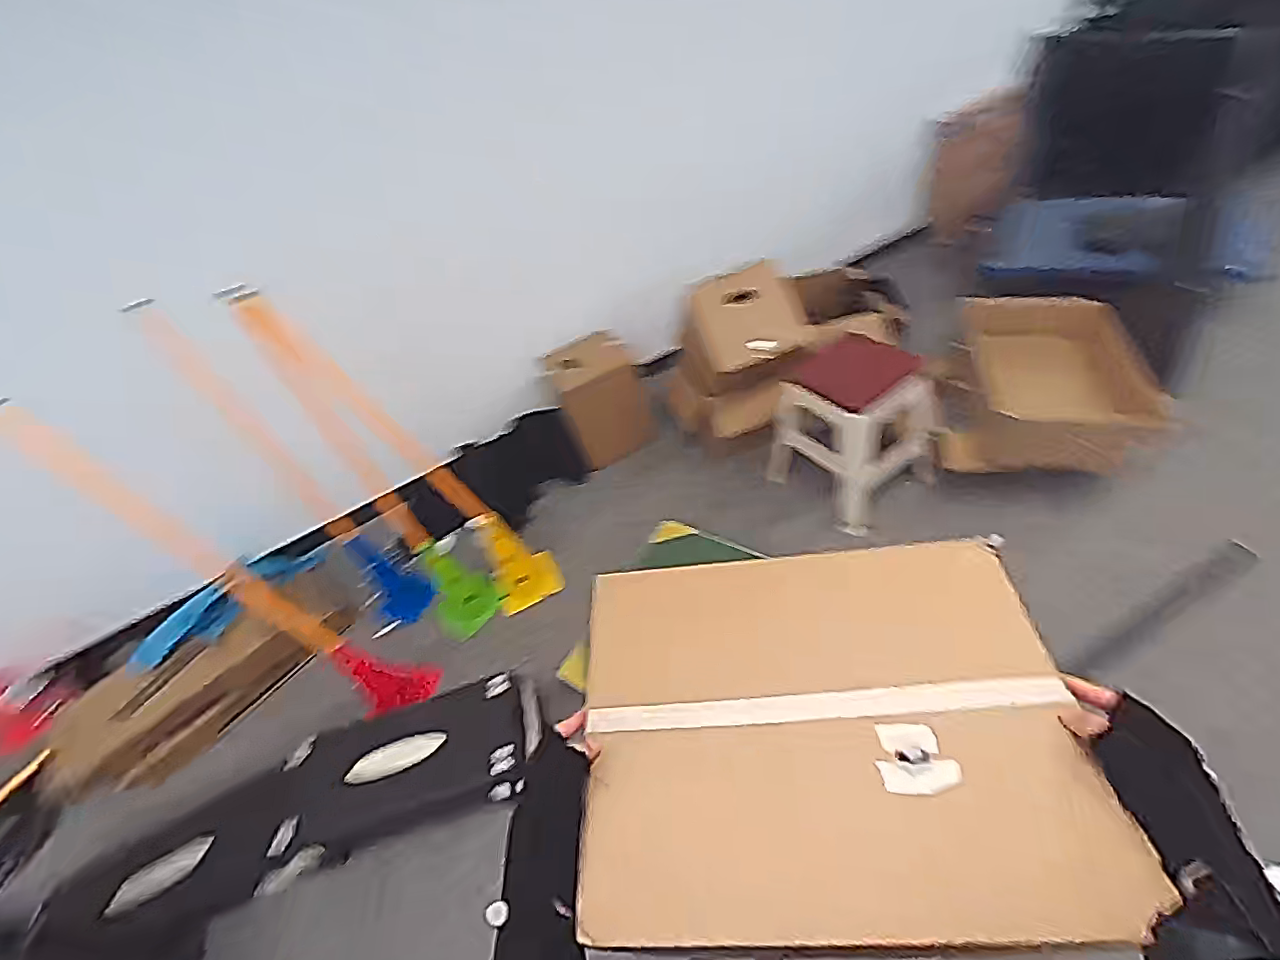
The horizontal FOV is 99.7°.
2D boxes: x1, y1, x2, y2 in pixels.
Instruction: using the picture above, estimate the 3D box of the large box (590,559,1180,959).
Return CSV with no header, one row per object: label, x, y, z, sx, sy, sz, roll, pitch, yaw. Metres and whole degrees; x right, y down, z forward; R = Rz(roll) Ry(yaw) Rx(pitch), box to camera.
large box,0.181,0.312,0.580,0.408,0.320,0.320,-5,48,8
